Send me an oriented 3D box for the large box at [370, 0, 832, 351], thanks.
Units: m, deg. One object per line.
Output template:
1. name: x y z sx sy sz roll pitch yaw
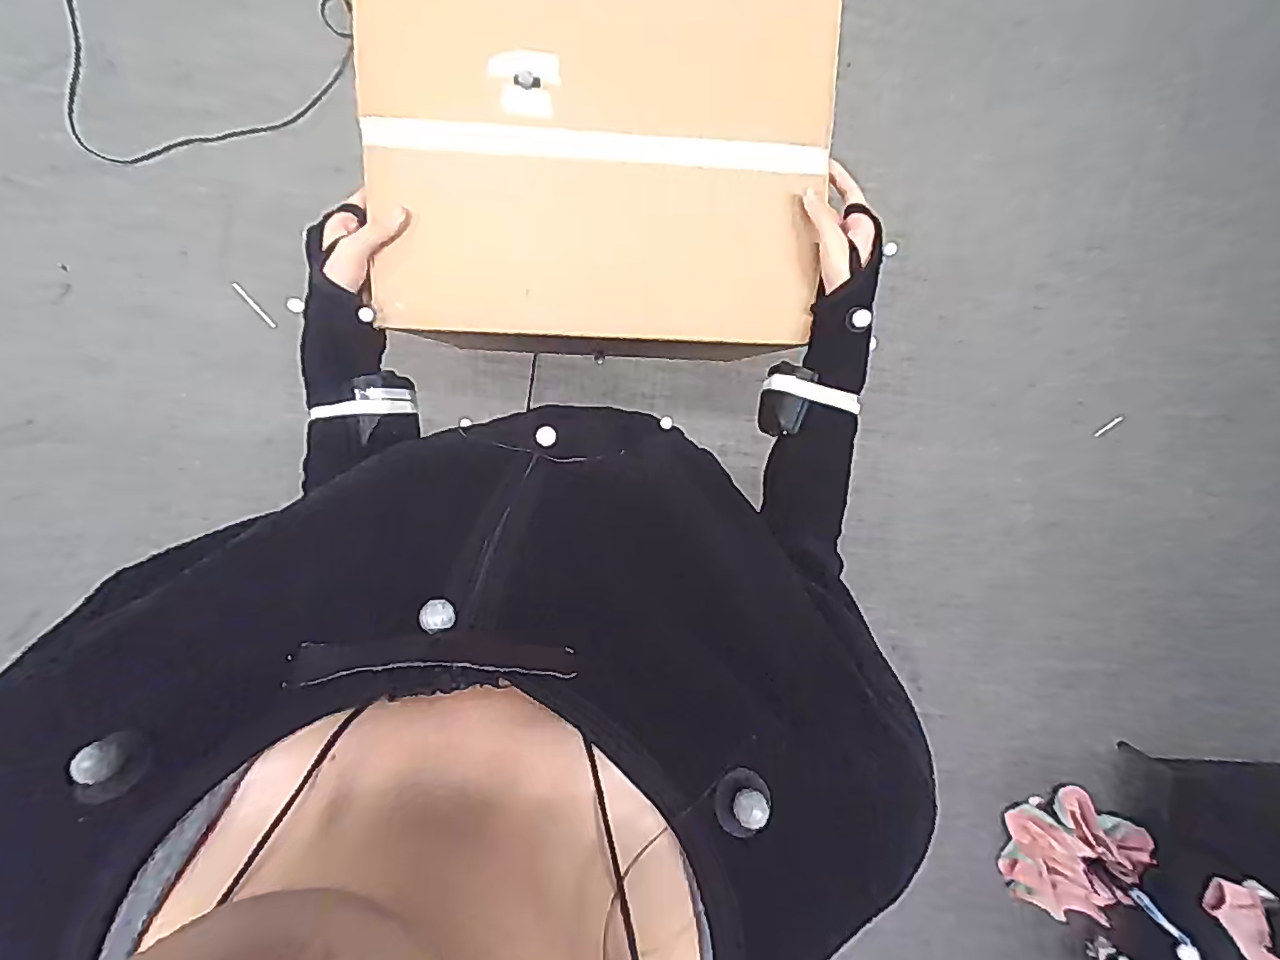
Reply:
1. large box: -0.040 -0.316 0.631 0.408 0.320 0.320 1 99 -4
